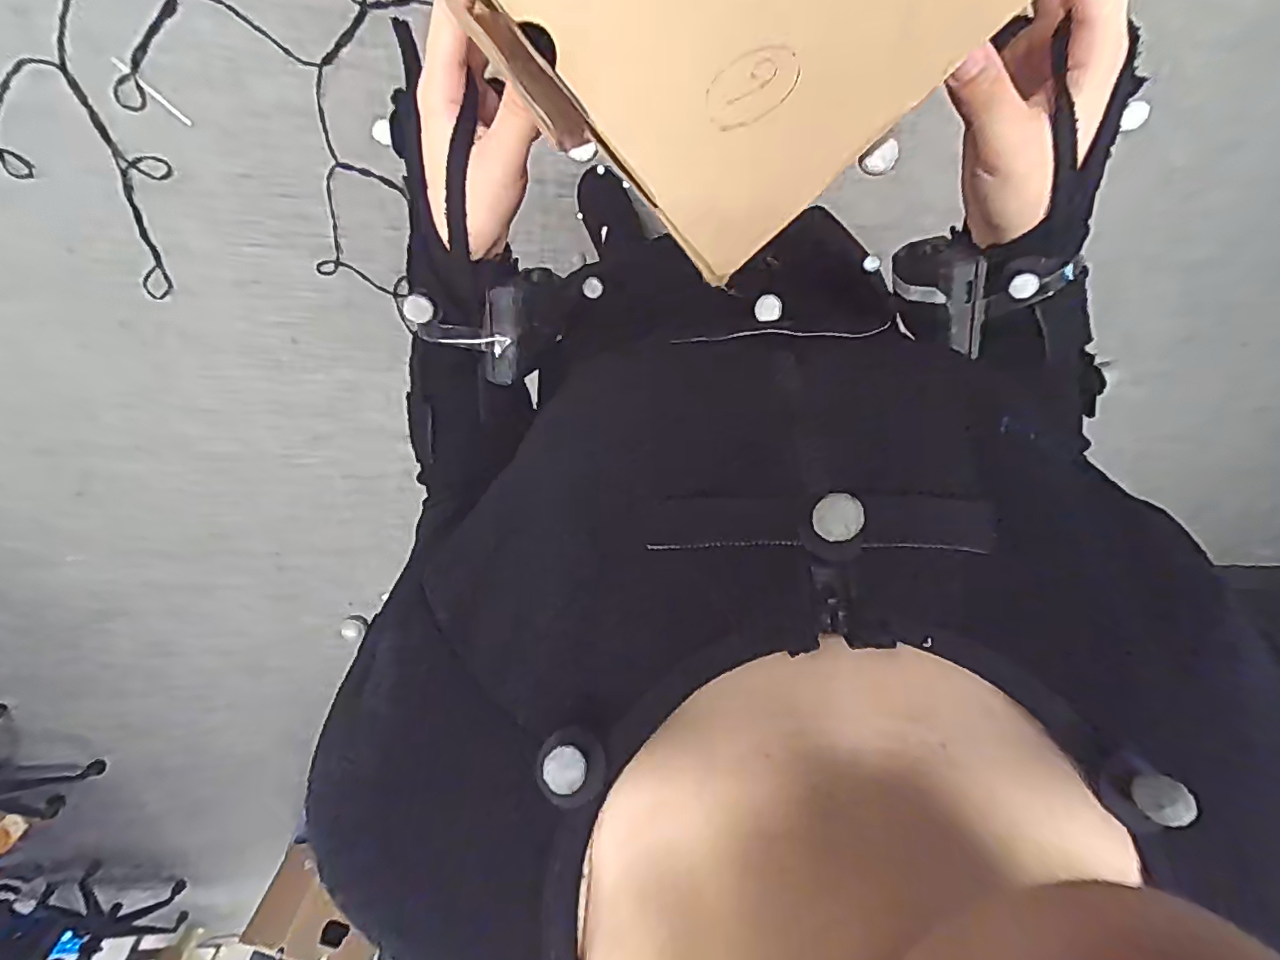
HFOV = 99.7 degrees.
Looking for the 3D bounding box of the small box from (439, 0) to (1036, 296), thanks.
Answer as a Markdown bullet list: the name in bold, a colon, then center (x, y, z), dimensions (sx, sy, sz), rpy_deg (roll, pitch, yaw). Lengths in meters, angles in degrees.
- **small box**: center (0.042, -0.197, 0.205), dimensions (0.179, 0.176, 0.168), rpy_deg (-39, 102, 23)
